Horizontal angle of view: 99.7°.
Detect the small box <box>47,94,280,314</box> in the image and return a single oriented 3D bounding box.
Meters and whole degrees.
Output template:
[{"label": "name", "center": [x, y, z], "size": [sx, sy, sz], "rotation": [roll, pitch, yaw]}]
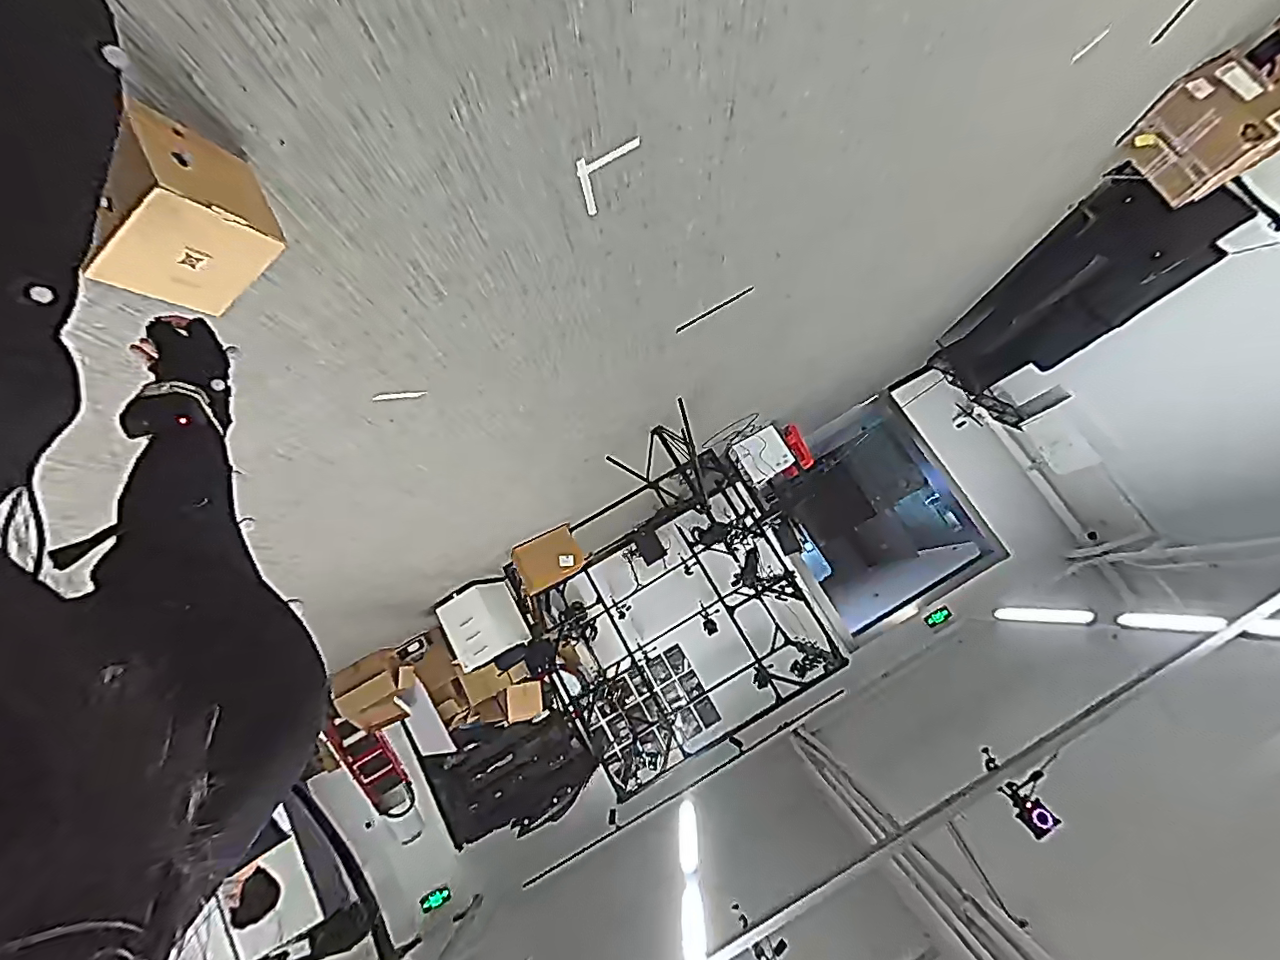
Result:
[{"label": "small box", "center": [-0.653, -0.370, 0.744], "size": [0.179, 0.176, 0.168], "rotation": [-33, 167, 15]}]
